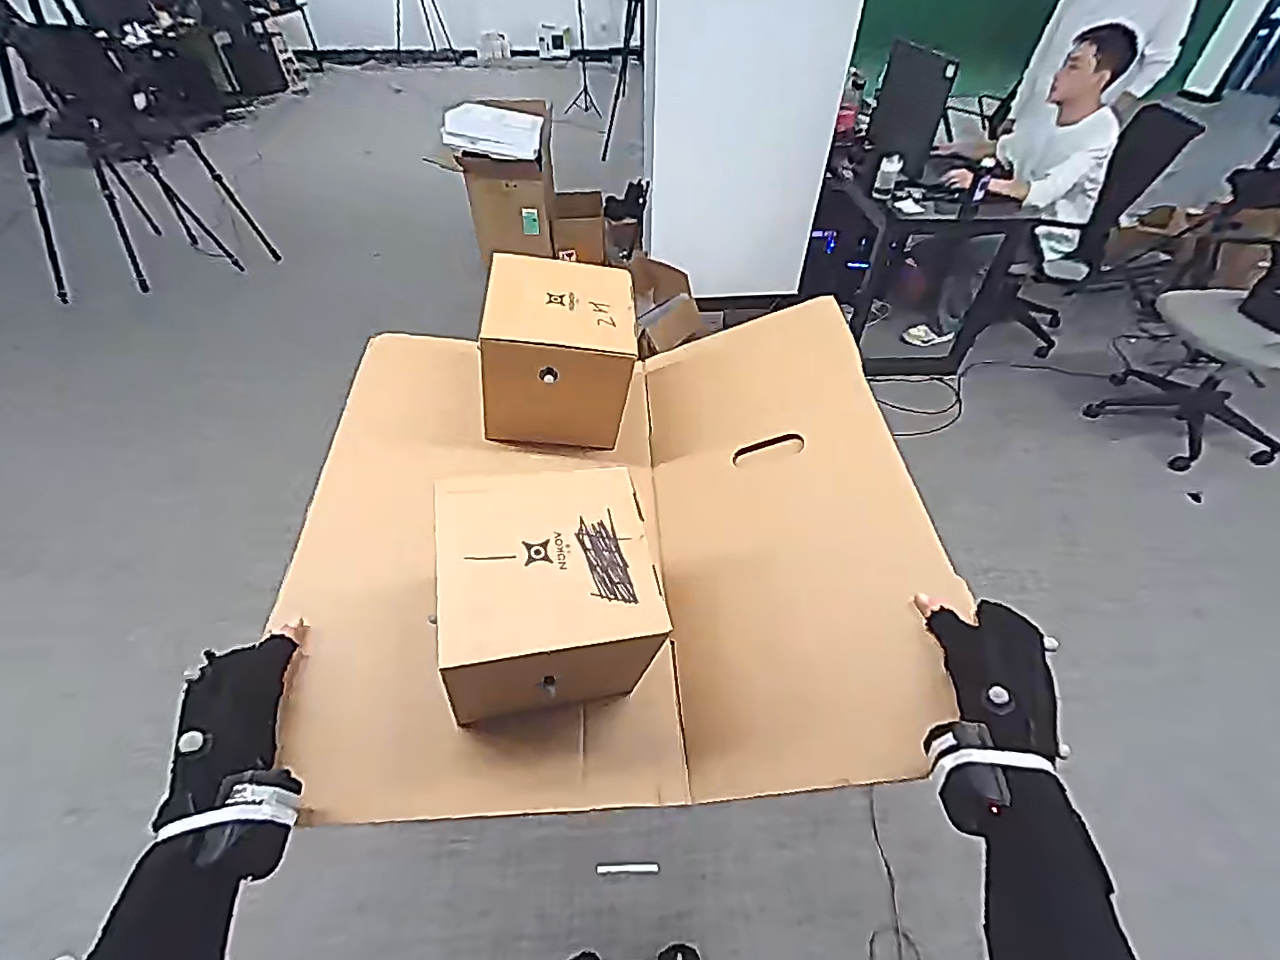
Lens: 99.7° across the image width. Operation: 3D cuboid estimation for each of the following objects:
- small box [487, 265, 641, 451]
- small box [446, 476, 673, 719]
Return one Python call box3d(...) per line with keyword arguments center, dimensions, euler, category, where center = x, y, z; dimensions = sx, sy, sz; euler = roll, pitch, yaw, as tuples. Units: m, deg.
box3d(center=(-0.101, -0.154, 0.715), dimensions=(0.179, 0.176, 0.168), euler=(5, 53, -11), category="small box")
box3d(center=(-0.087, 0.113, 0.518), dimensions=(0.179, 0.176, 0.168), euler=(-4, 55, -16), category="small box")
